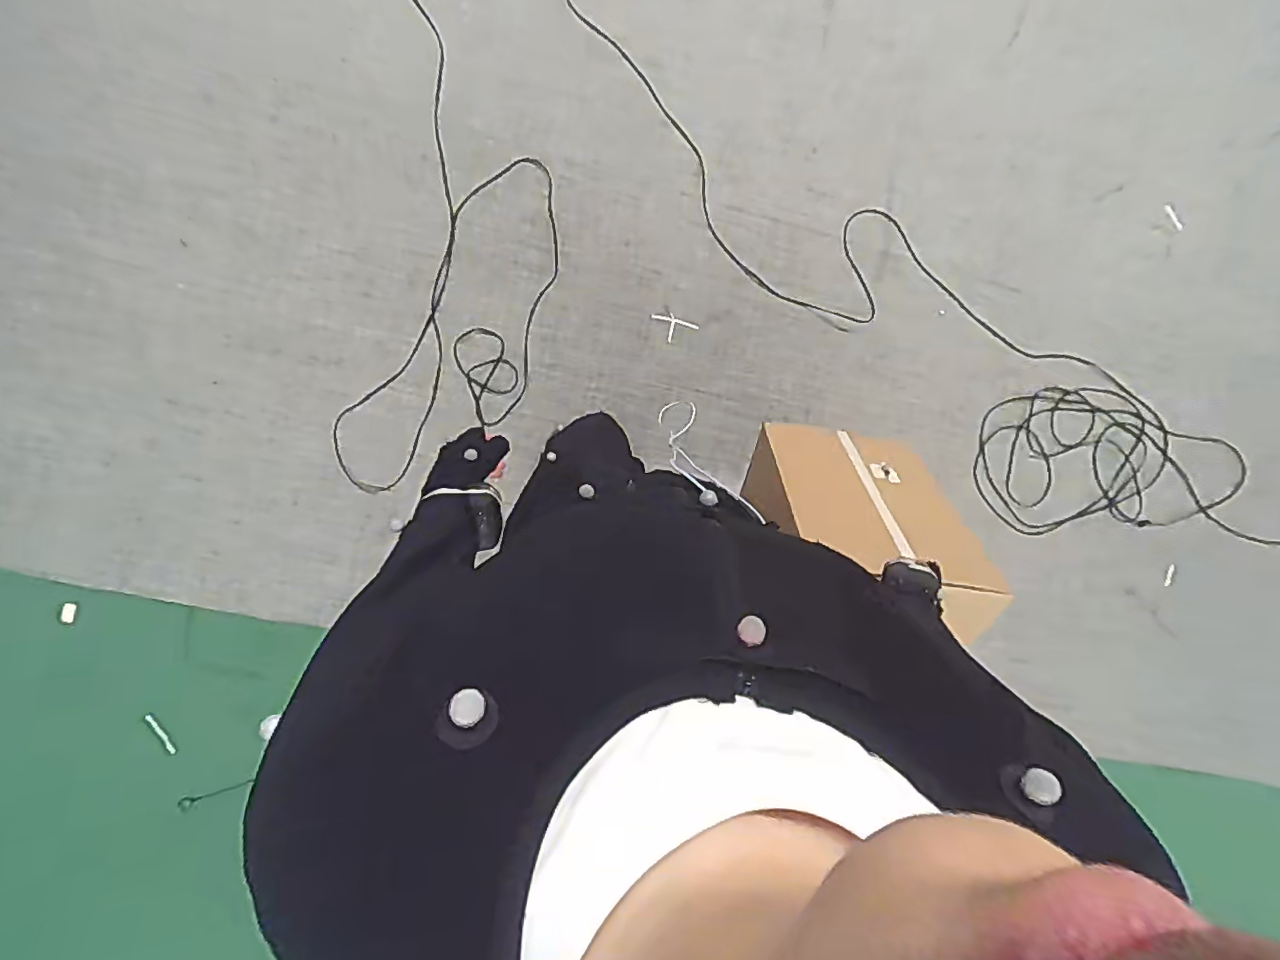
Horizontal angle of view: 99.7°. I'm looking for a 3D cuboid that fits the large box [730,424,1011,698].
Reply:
[{"bbox_3d":[0.375,0.142,1.021,0.320,0.408,0.320,8,127,-5],"label":"large box"}]
